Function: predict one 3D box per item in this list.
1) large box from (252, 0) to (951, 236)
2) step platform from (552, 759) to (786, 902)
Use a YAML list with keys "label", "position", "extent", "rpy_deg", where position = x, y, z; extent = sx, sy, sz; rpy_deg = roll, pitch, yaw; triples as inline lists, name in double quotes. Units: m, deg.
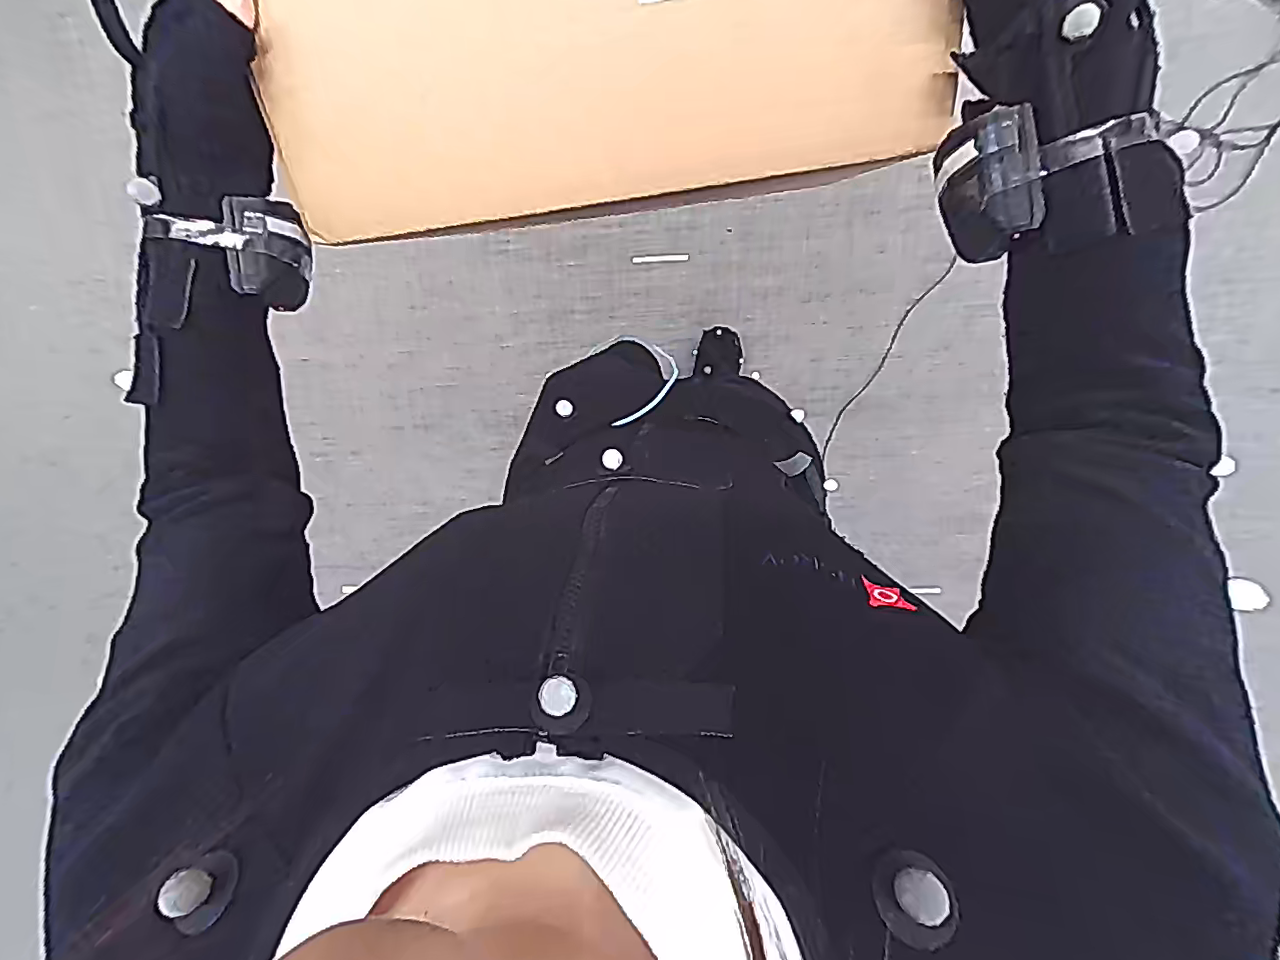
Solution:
- label: "large box"
  position: [-0.025, -0.390, 0.416]
  extent: [0.408, 0.320, 0.320]
  rpy_deg: [-4, 116, 10]
- label: "step platform"
  position: [0.082, 1.037, 1.612]
  extent: [0.684, 0.204, 0.286]
  rpy_deg: [-1, 103, 9]
